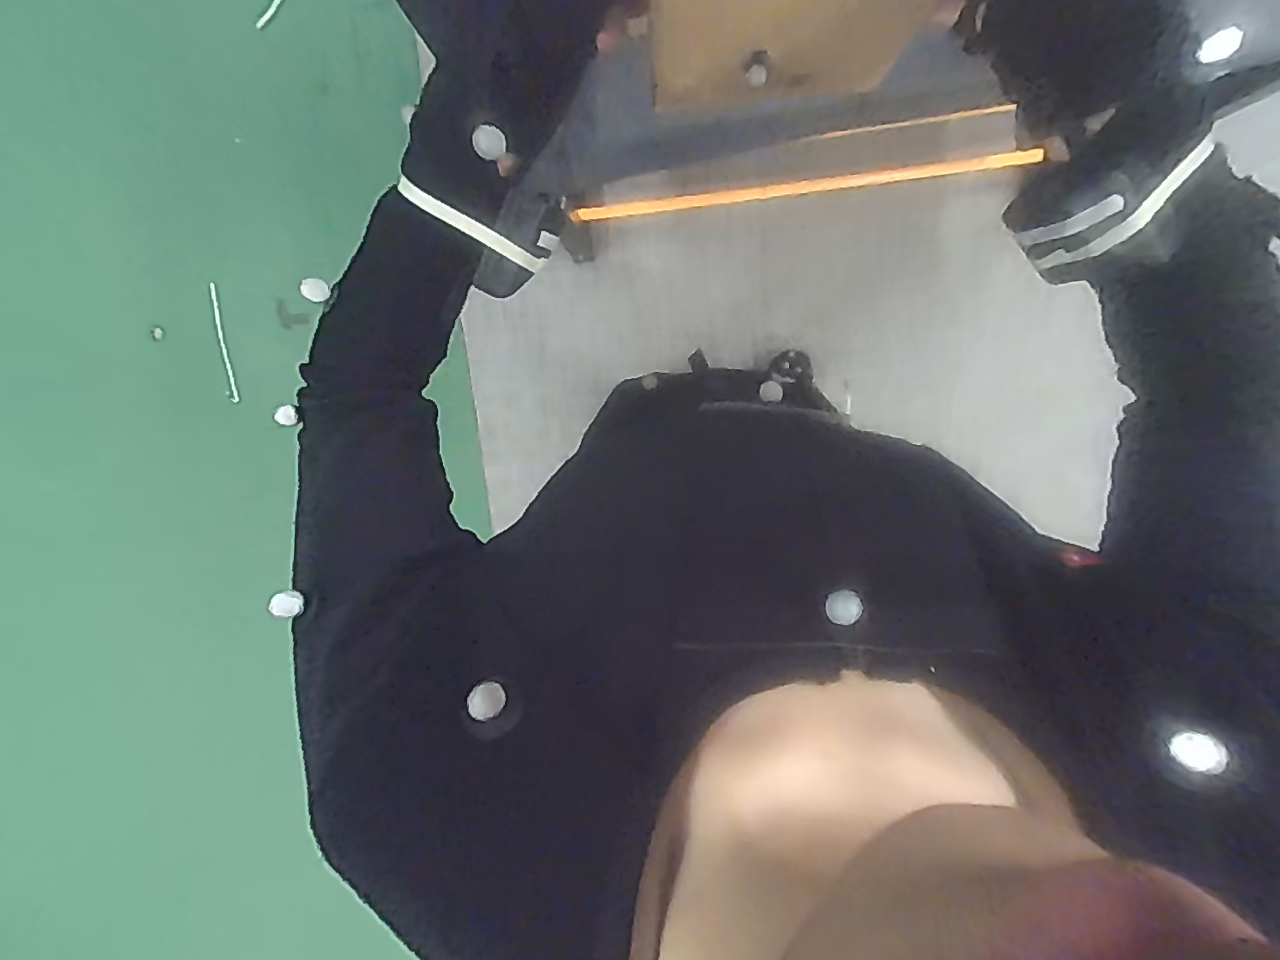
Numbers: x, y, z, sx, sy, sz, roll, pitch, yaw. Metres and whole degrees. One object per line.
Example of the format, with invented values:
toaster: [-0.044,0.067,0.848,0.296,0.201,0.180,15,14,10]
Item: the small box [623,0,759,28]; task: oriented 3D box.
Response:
small box: [0.049,-0.615,0.544,0.168,0.176,0.179,-8,99,4]
